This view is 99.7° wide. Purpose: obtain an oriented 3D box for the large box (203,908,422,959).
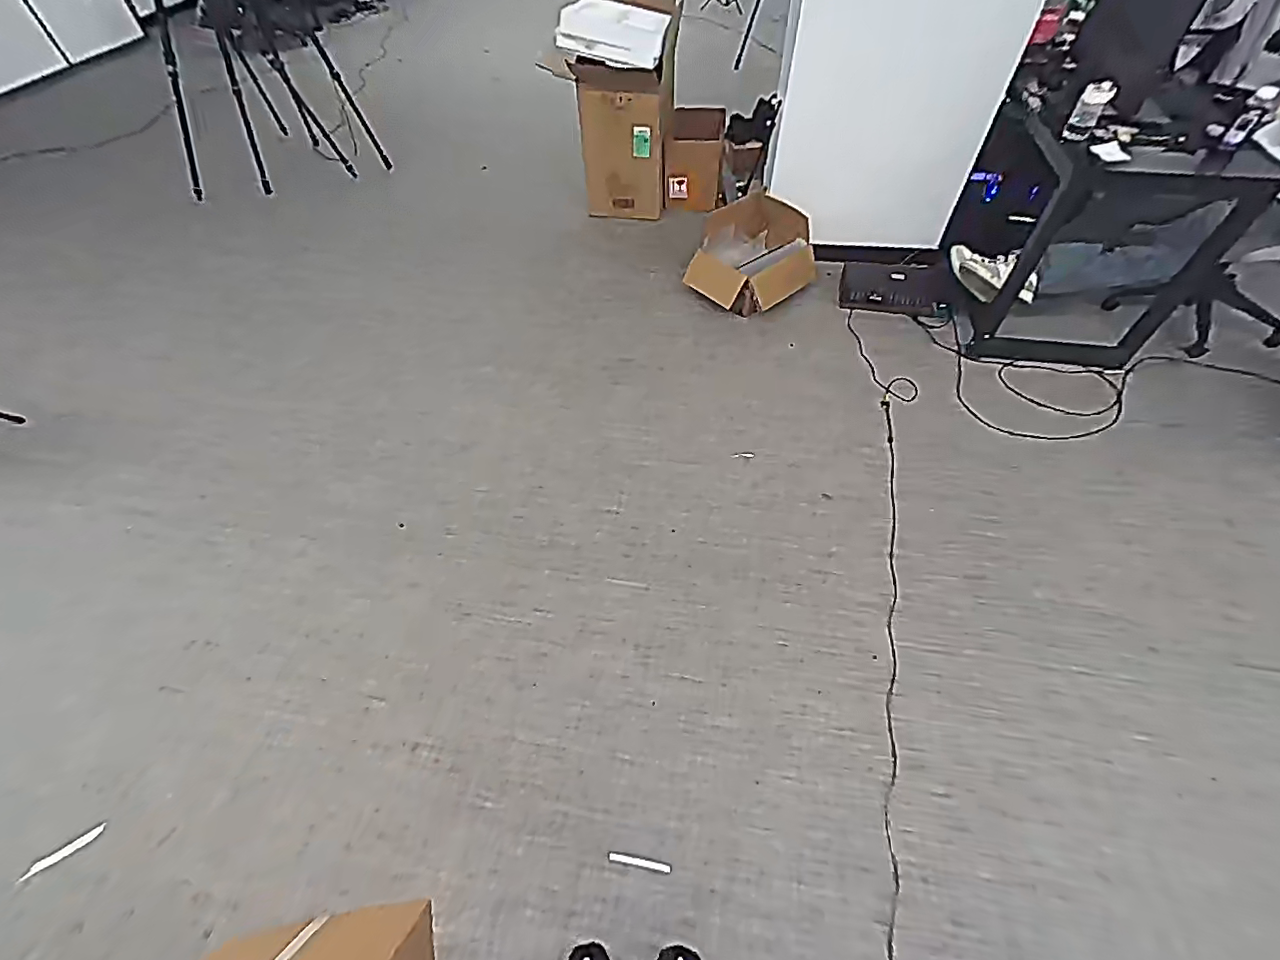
[{"bbox_3d":[-0.451,0.779,0.598,0.320,0.408,0.320,-9,77,-5],"label":"large box"}]
